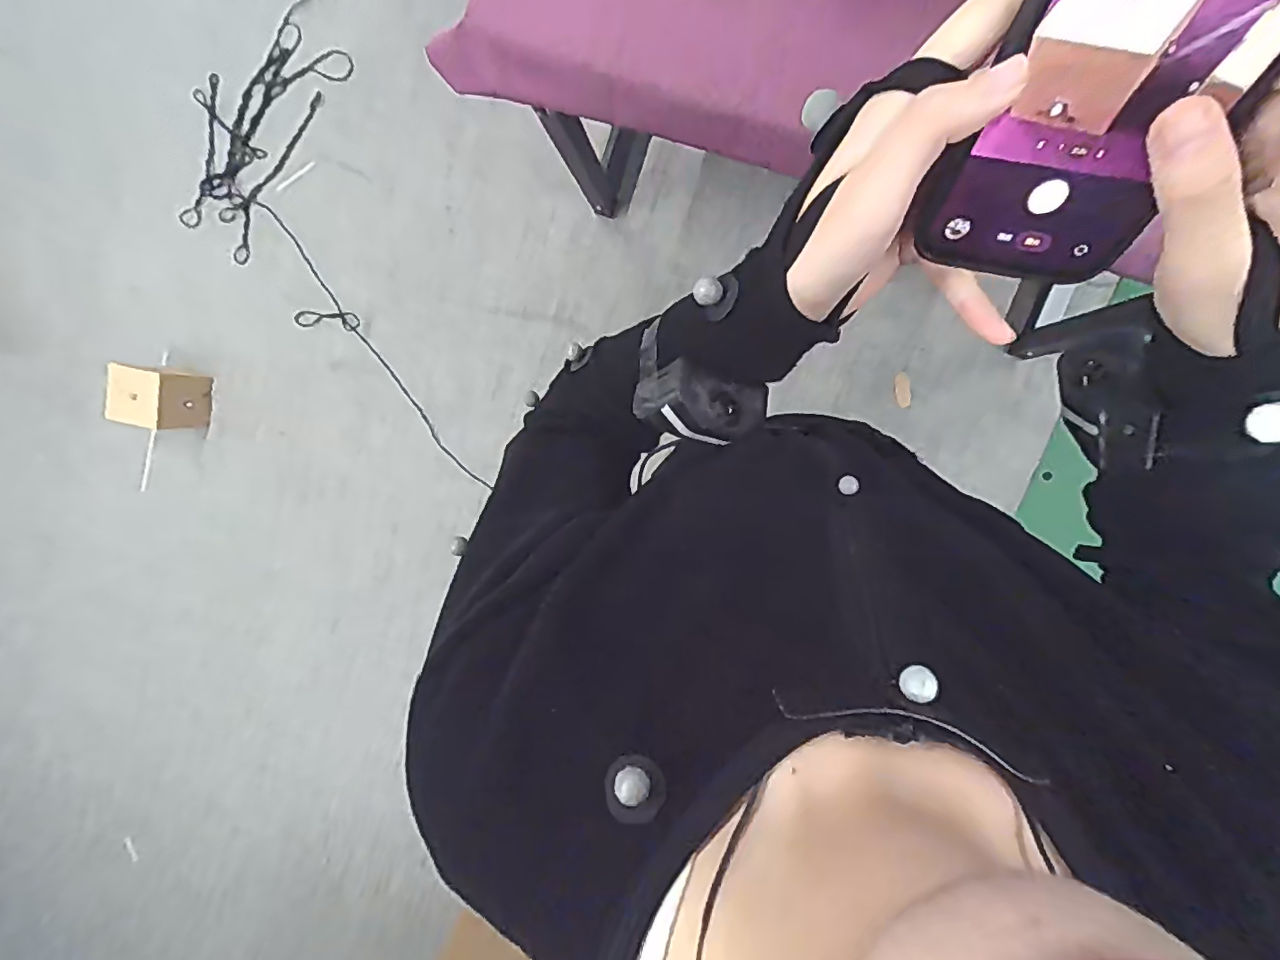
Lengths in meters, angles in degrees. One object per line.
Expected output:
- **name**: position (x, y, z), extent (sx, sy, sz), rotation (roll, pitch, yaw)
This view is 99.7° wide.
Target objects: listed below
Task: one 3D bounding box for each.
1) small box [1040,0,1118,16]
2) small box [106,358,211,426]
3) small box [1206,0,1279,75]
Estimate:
- **small box**: position (0.498, -0.646, 0.565), extent (0.179, 0.176, 0.168), rotation (25, 100, 5)
- **small box**: position (-1.444, -0.264, 1.631), extent (0.179, 0.176, 0.168), rotation (13, 98, 7)
- **small box**: position (0.734, -0.544, 0.539), extent (0.179, 0.176, 0.168), rotation (0, 96, 9)
